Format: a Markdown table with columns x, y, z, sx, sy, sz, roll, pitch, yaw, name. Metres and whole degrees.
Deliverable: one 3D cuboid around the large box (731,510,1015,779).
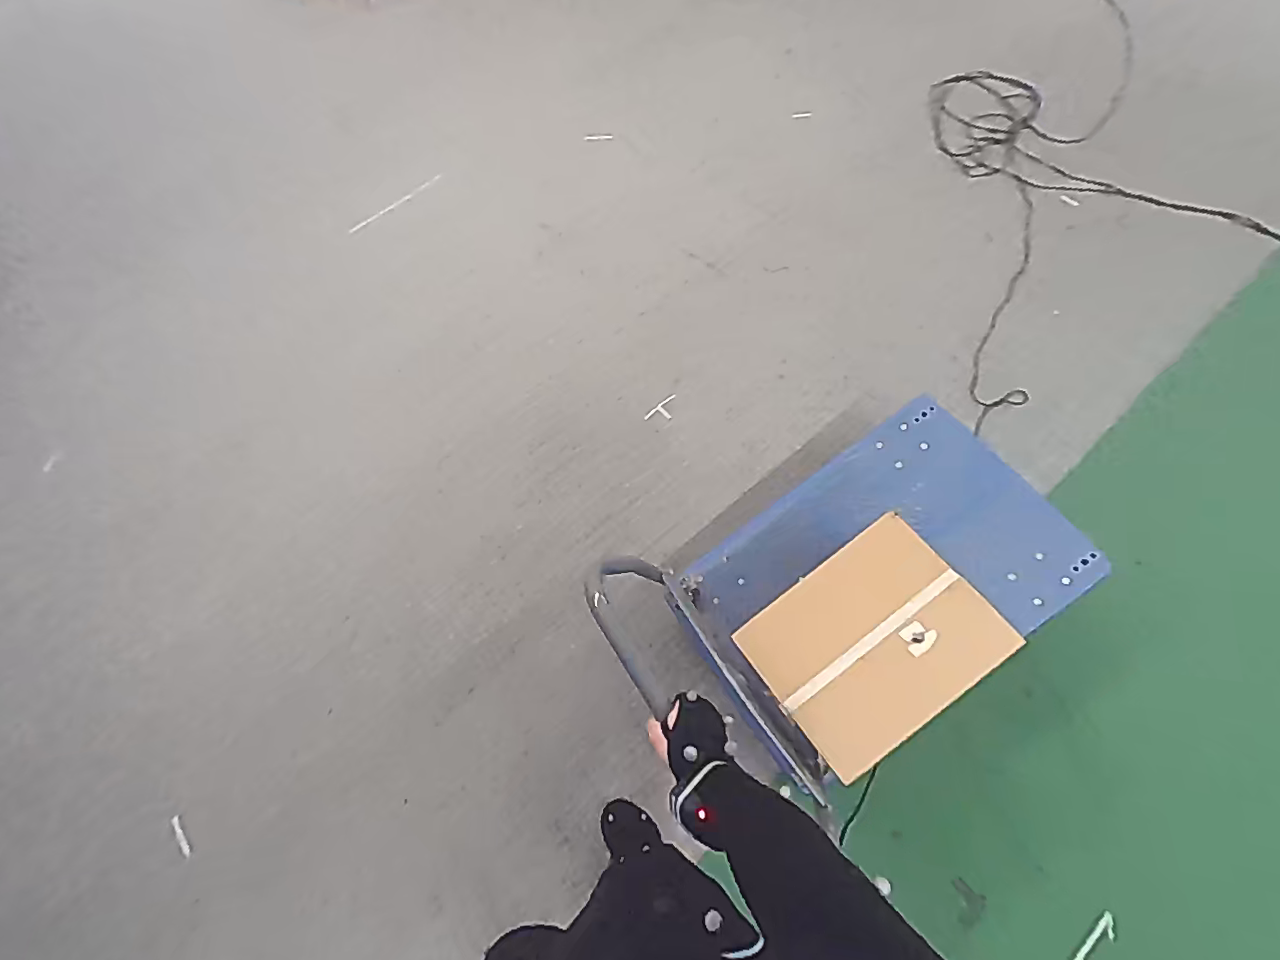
| x | y | z | sx | sy | sz | roll | pitch | yaw | name |
| --- | --- | --- | --- | --- | --- | --- | --- | --- | --- |
| 0.445 | 0.337 | 1.129 | 0.408 | 0.320 | 0.320 | -37 | 68 | -2 | large box |
